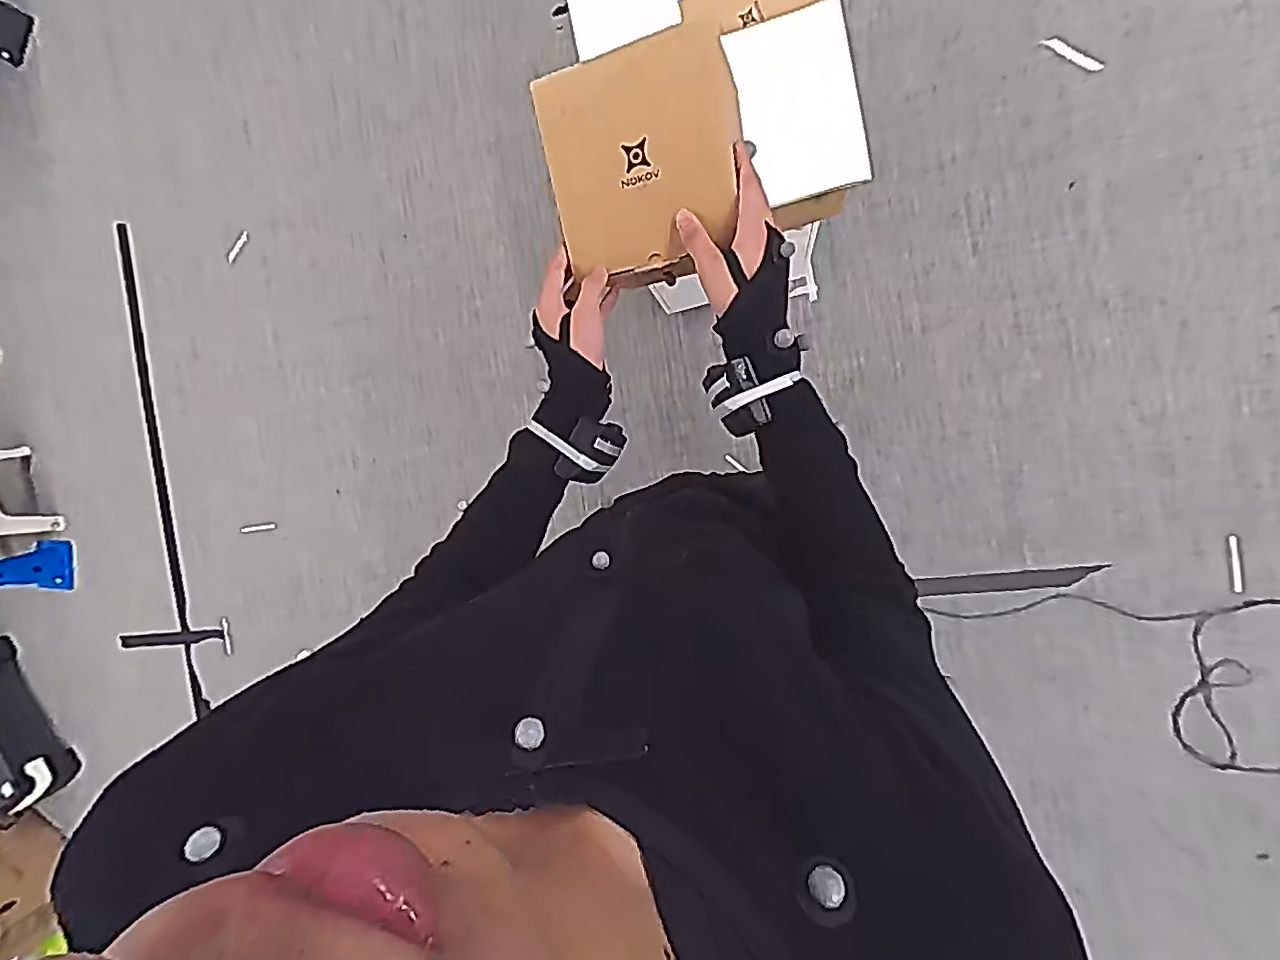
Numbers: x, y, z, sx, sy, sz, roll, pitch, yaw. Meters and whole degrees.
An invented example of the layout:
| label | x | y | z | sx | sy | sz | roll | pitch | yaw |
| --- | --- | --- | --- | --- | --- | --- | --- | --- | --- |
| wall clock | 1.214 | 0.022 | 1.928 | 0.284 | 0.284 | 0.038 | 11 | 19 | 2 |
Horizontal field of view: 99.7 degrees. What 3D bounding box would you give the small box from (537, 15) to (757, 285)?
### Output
| label | x | y | z | sx | sy | sz | roll | pitch | yaw |
| --- | --- | --- | --- | --- | --- | --- | --- | --- | --- |
| small box | 0.022 | -0.306 | 0.550 | 0.168 | 0.176 | 0.179 | -7 | 107 | 19 |
